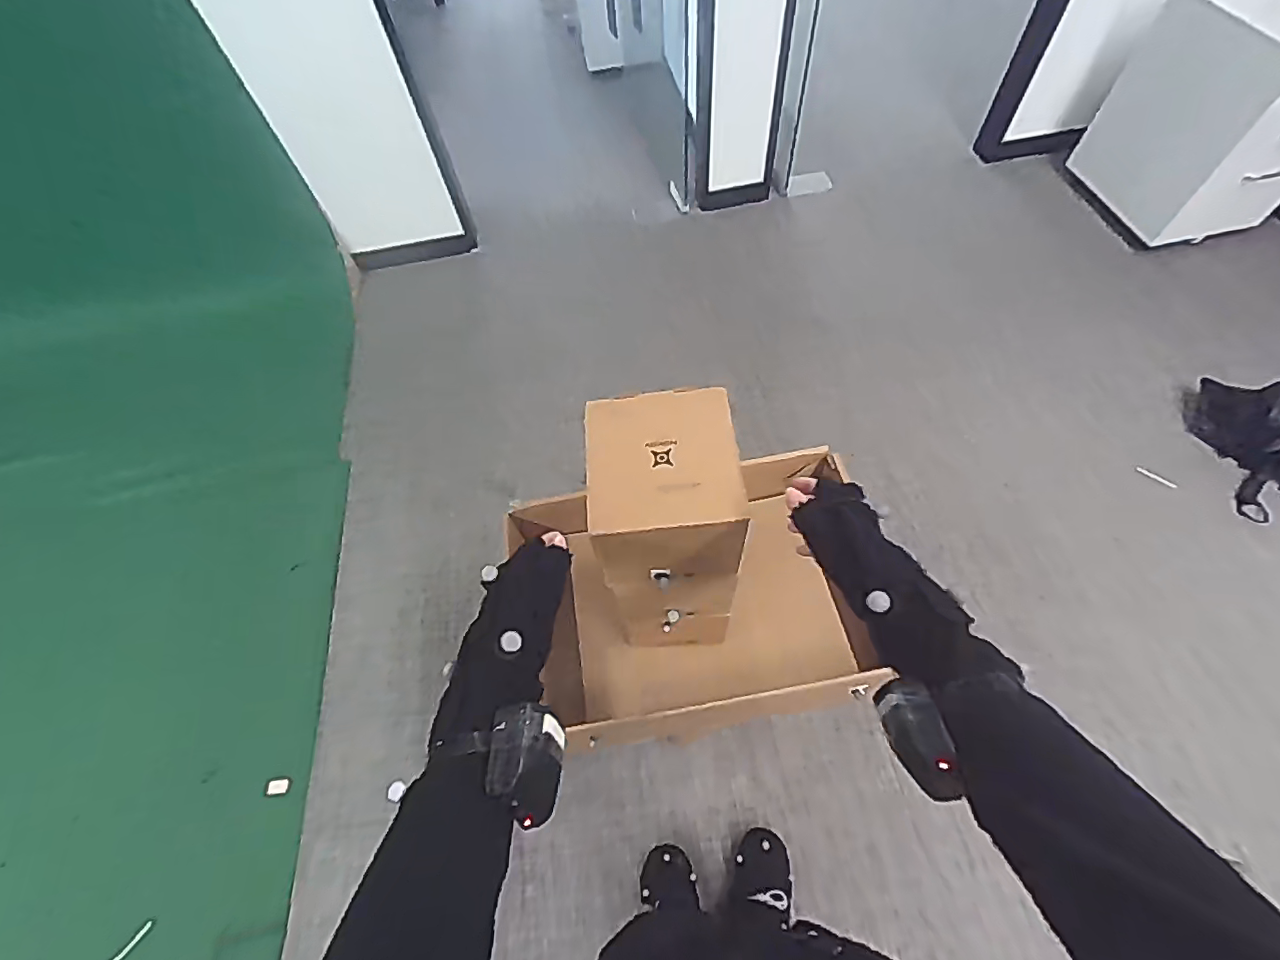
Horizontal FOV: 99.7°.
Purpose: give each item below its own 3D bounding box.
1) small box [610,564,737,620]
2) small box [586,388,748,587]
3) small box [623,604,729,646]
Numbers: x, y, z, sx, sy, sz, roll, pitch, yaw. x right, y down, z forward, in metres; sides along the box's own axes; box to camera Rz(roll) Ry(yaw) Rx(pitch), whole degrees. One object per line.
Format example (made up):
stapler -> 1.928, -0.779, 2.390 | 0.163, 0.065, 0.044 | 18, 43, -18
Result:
small box -> 0.042, 0.093, 0.796 | 0.168, 0.176, 0.179 | -5, 60, 1
small box -> 0.028, 0.015, 0.655 | 0.168, 0.176, 0.179 | -6, 60, 2
small box -> 0.058, 0.176, 0.936 | 0.168, 0.176, 0.179 | -4, 58, 3
